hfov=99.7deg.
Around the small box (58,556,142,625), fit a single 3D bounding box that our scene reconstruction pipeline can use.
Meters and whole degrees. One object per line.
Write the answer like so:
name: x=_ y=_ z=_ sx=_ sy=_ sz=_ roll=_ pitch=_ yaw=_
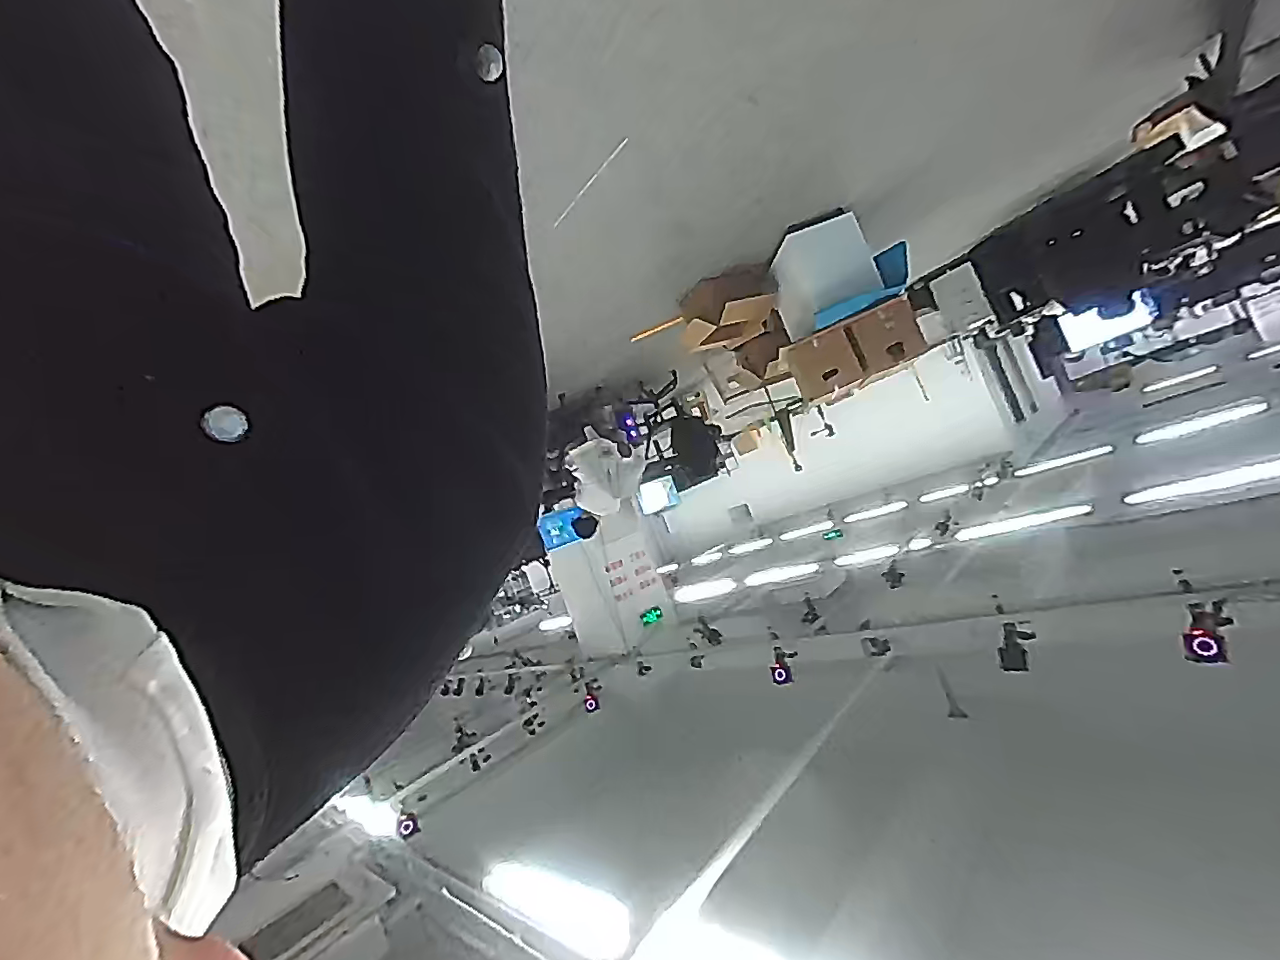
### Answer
small box: x=-1.771 y=0.359 z=1.777 sx=0.168 sy=0.176 sz=0.179 roll=-16 pitch=174 yaw=-44
